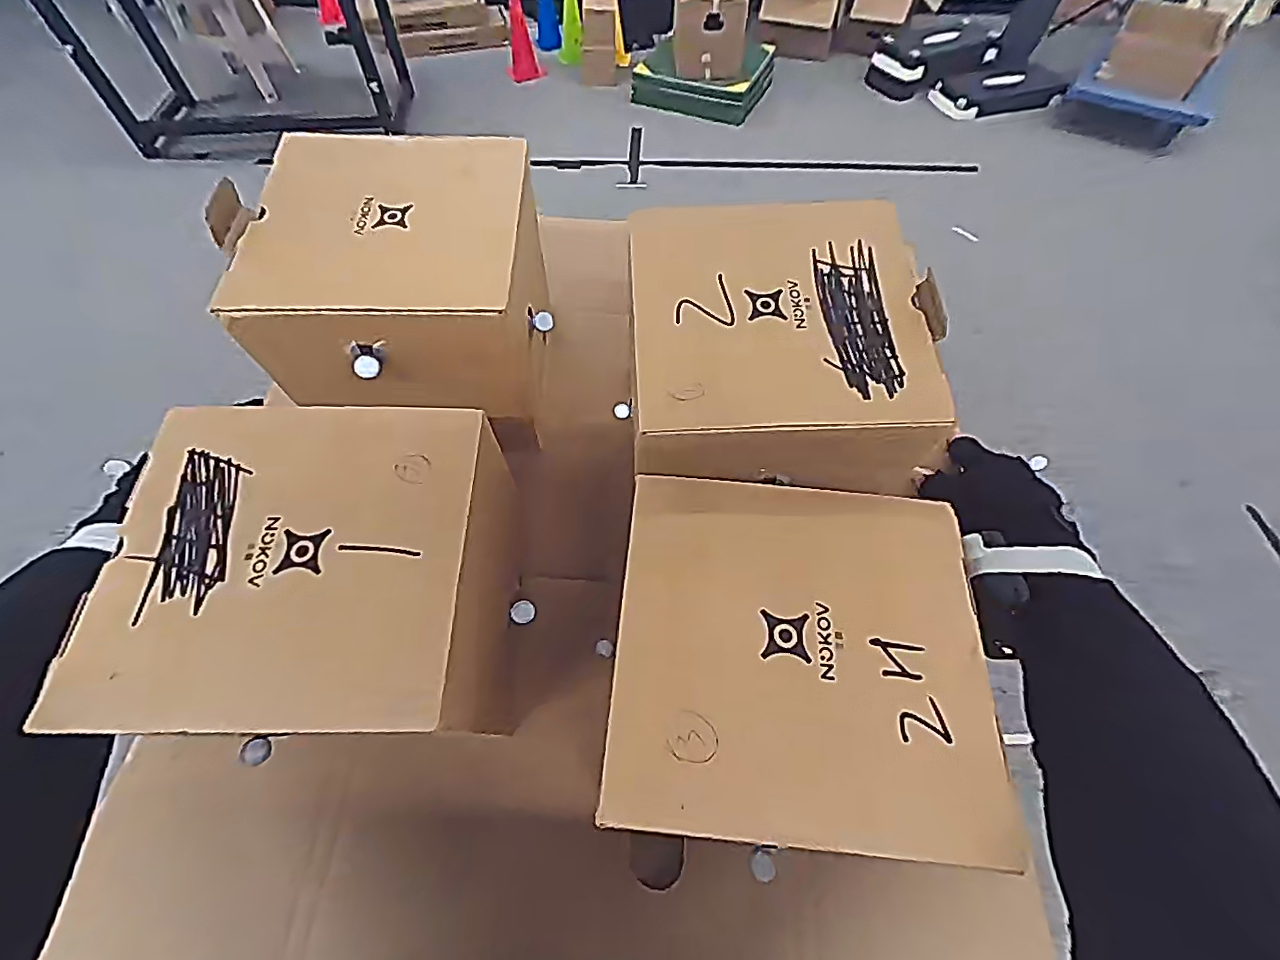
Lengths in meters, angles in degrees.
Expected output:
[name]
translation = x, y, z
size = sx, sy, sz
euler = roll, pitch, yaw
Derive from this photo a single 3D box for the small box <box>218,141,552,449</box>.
[small box]
translation = -0.169, -0.135, 0.432
size = 0.179, 0.176, 0.168
euler = 0, 63, -1
